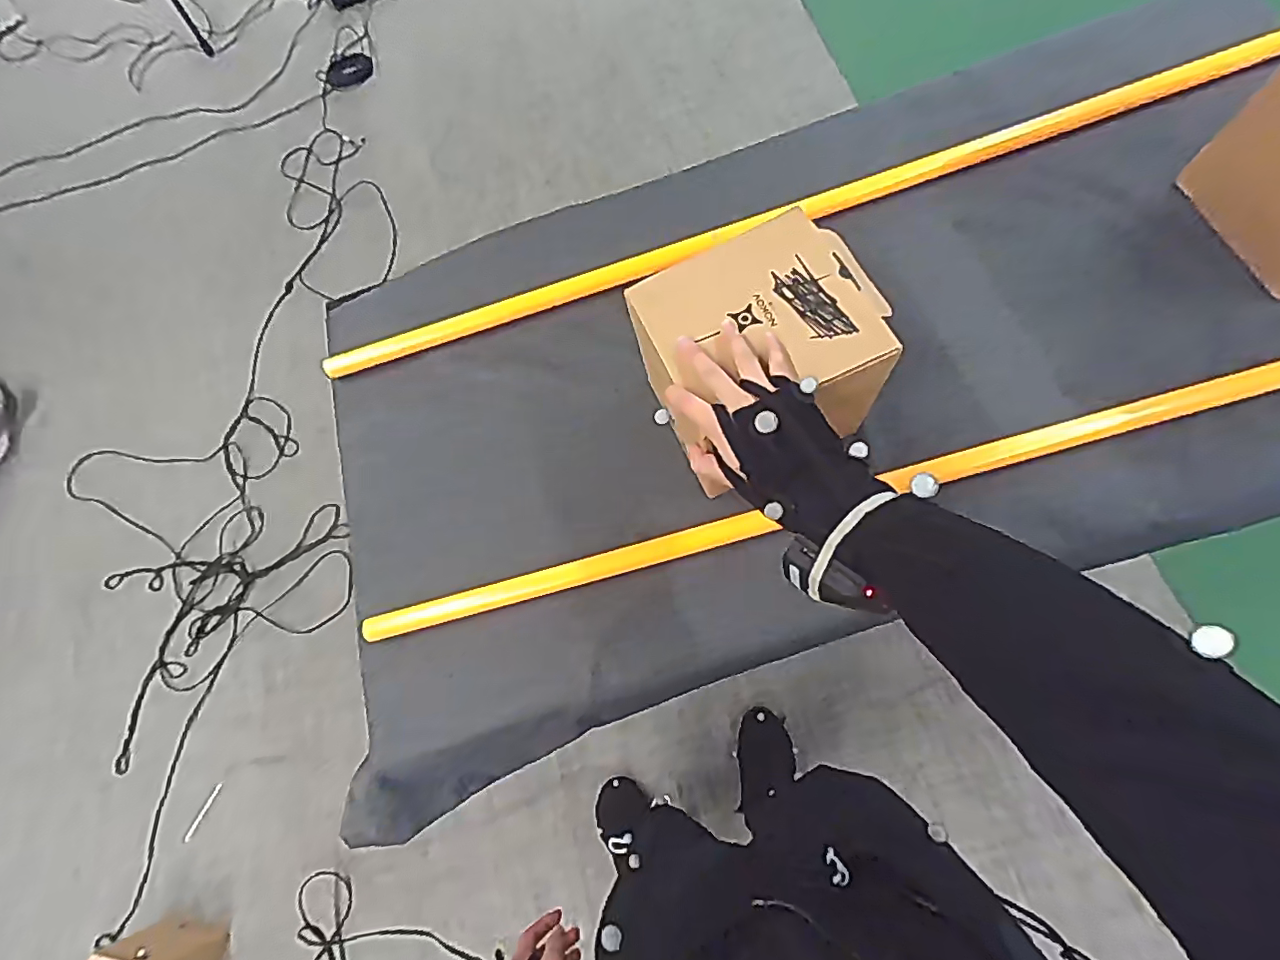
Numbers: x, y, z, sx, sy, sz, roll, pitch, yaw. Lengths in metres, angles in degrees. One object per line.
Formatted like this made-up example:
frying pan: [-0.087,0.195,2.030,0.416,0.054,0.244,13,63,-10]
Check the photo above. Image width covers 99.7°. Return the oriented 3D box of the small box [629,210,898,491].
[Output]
small box: [0.109,-0.112,0.529,0.179,0.176,0.168,-25,69,1]

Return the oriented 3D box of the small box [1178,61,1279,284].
small box: [0.679,-0.305,0.495,0.168,0.176,0.179,-17,69,5]

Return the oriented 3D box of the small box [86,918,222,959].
small box: [-1.013,1.051,1.108,0.168,0.176,0.179,3,72,11]
